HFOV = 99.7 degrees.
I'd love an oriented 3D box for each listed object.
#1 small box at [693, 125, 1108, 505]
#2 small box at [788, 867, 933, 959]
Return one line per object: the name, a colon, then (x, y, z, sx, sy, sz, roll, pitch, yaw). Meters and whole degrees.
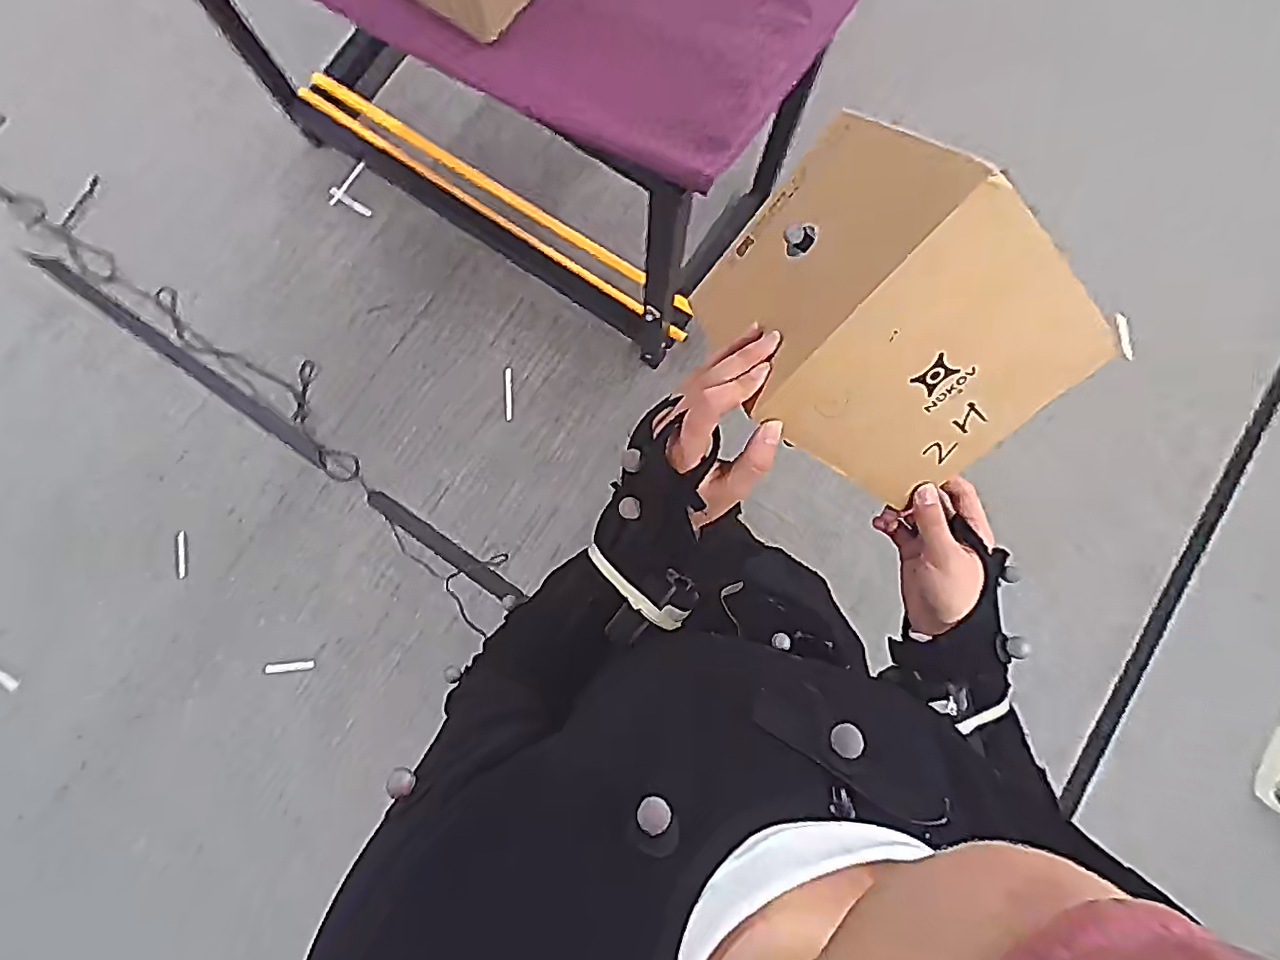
small box: (0.162, -0.117, 0.387, 0.179, 0.176, 0.168, 24, 123, -31)
small box: (0.412, 0.898, 1.044, 0.179, 0.176, 0.168, 29, 84, 2)
